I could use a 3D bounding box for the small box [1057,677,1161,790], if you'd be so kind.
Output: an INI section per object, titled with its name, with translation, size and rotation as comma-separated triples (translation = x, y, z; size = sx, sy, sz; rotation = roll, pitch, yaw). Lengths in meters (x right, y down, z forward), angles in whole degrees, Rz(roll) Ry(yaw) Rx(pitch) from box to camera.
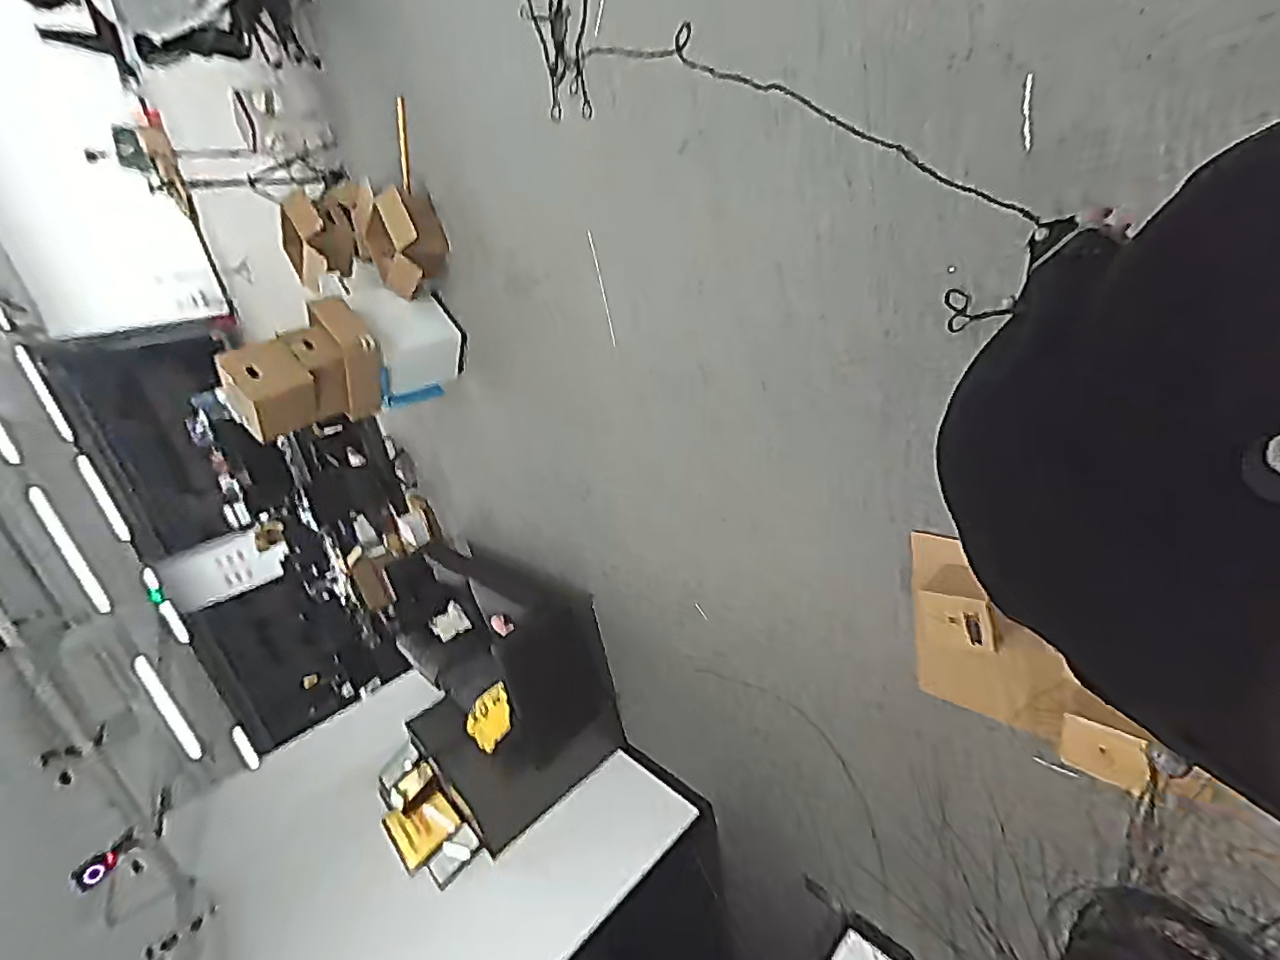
[small box]
translation = 1.184, 0.621, 1.366
size = 0.168, 0.176, 0.179
rotation = 13, 122, 48
